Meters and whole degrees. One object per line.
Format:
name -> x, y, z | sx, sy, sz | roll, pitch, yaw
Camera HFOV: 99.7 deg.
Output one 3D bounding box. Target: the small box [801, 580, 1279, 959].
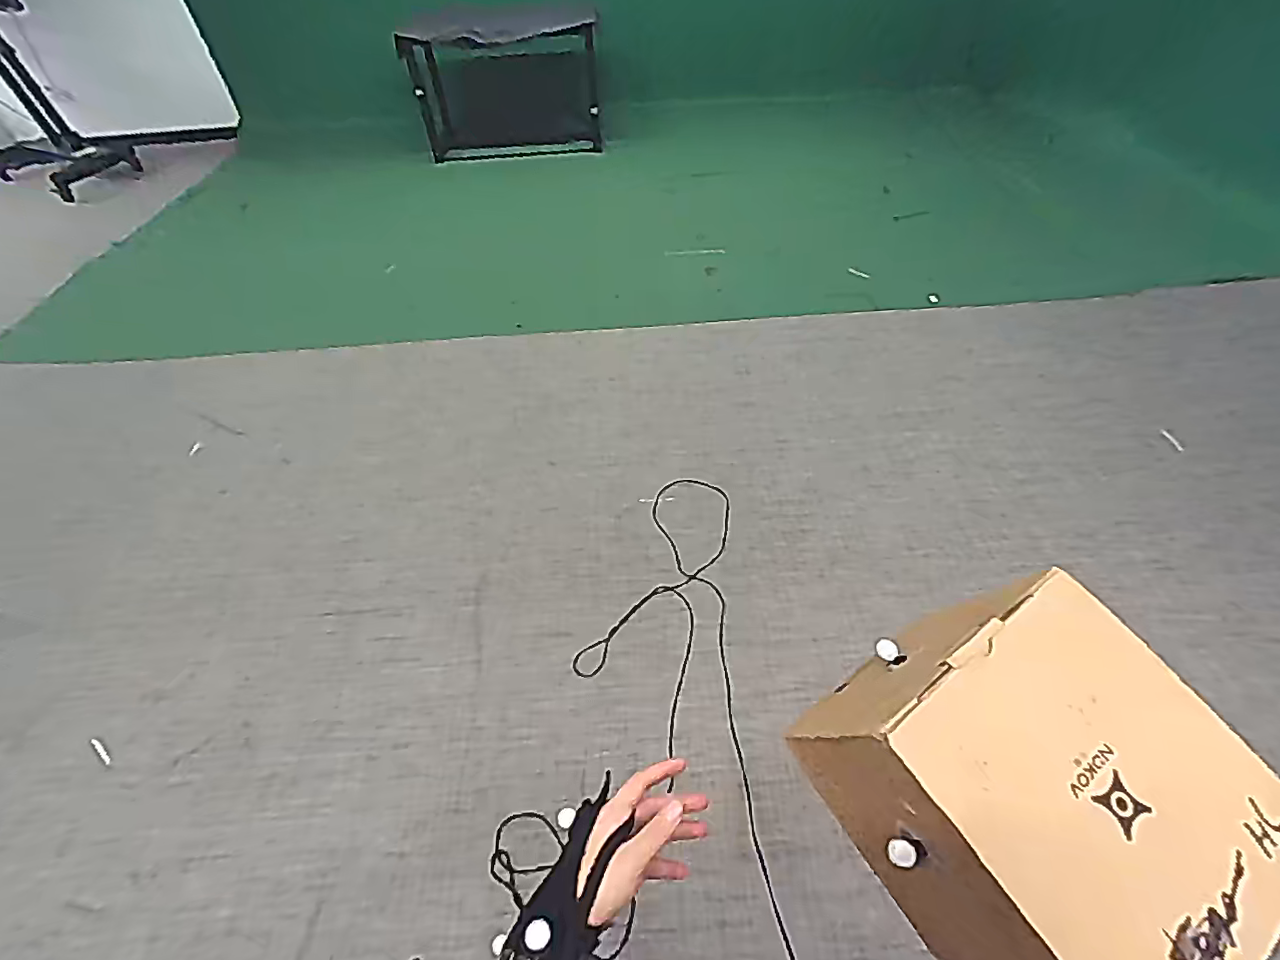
small box -> 0.238, 0.200, 0.355 | 0.168, 0.176, 0.179 | -31, 70, -18
